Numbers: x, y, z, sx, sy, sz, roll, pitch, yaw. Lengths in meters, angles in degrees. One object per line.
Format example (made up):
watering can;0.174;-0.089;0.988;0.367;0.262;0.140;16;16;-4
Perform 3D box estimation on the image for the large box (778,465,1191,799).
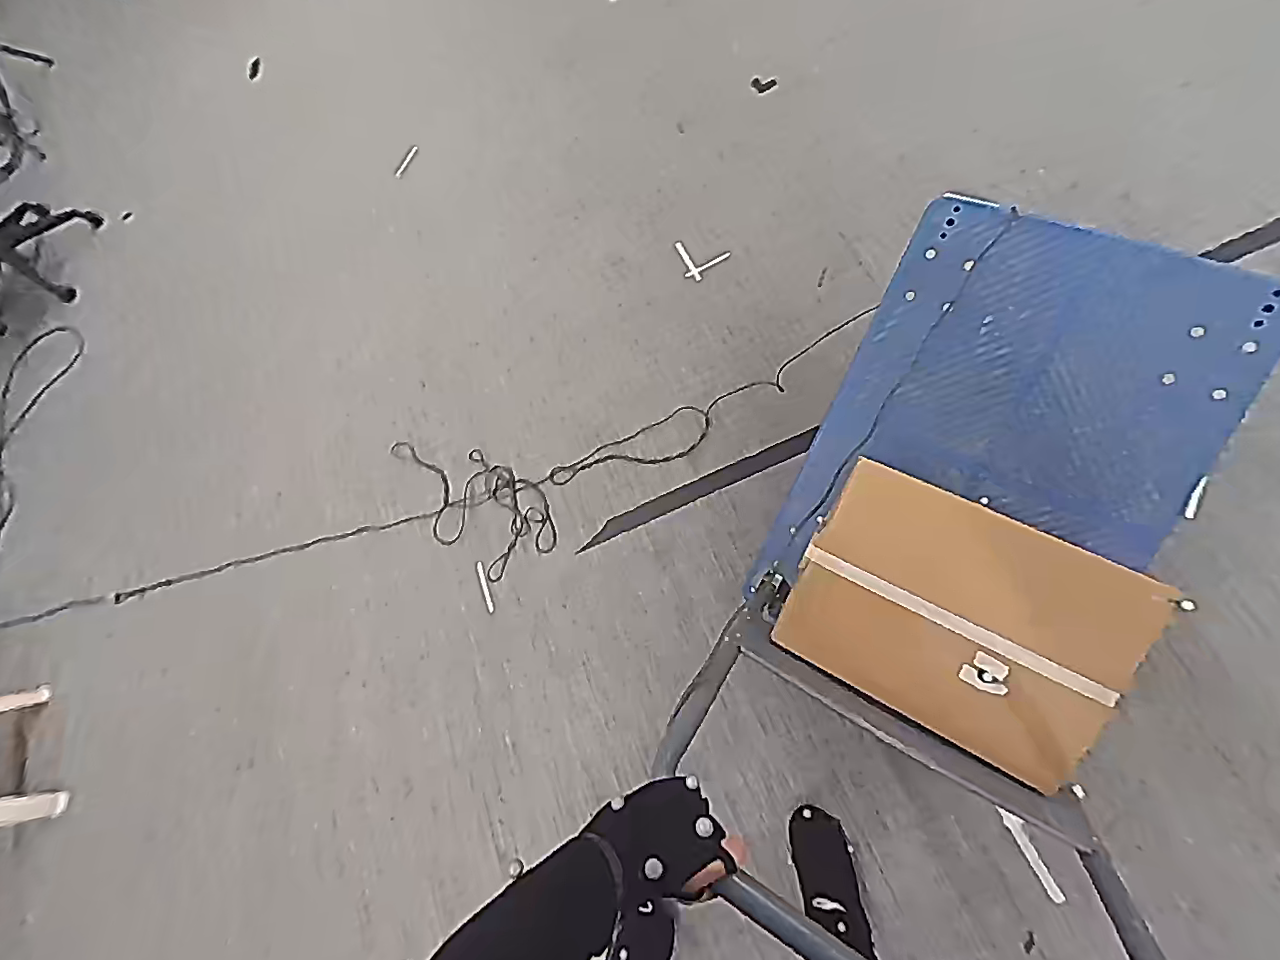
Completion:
large box;0.481;0.189;0.867;0.408;0.320;0.320;26;102;18
